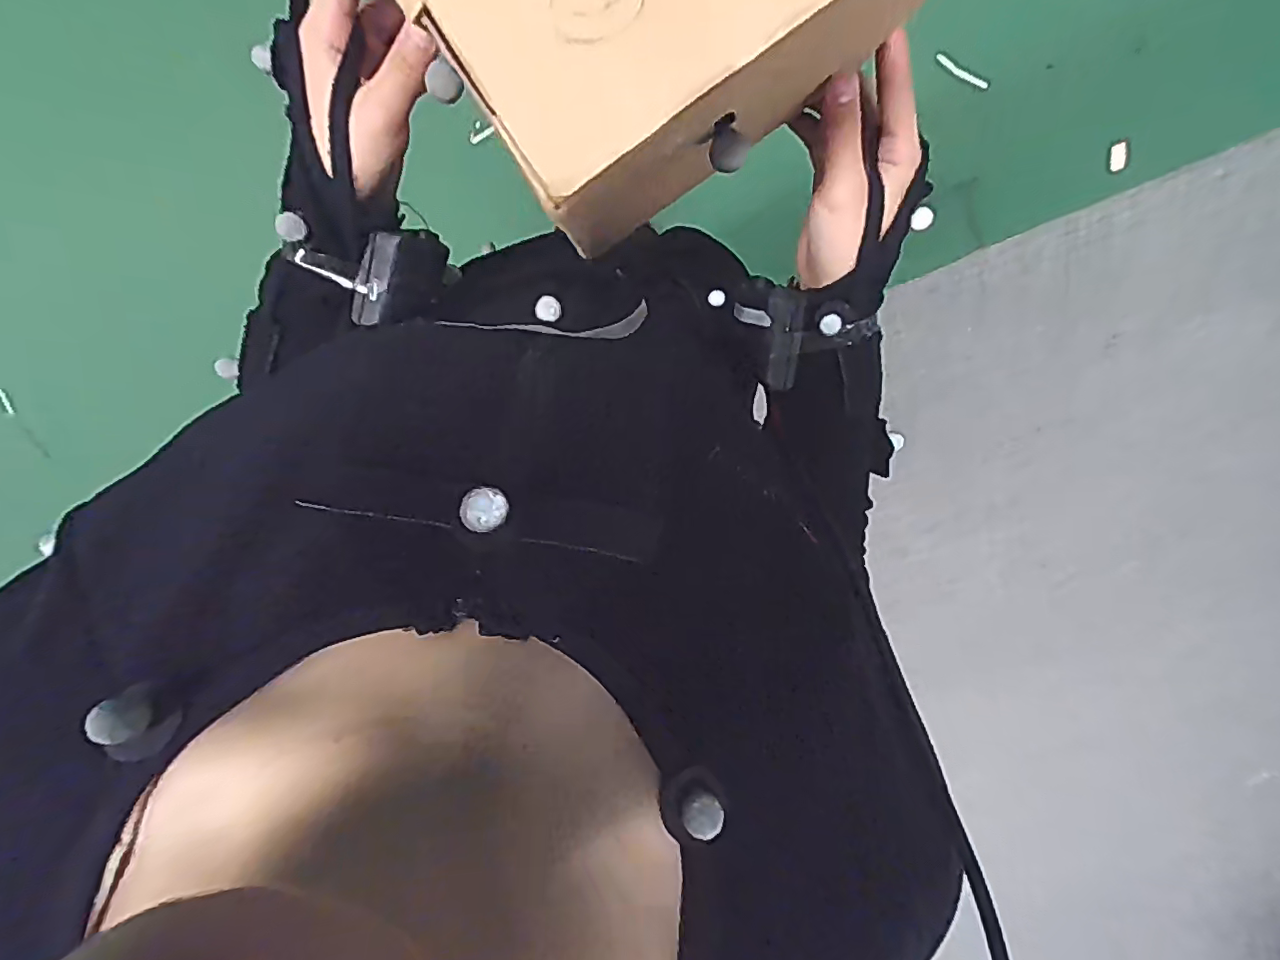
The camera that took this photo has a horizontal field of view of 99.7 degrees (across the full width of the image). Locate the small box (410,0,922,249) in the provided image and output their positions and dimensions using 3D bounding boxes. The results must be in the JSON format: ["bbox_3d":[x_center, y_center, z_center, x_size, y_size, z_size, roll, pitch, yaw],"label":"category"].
[{"bbox_3d":[0.003,-0.211,0.205,0.179,0.176,0.168,-31,105,9],"label":"small box"}]
